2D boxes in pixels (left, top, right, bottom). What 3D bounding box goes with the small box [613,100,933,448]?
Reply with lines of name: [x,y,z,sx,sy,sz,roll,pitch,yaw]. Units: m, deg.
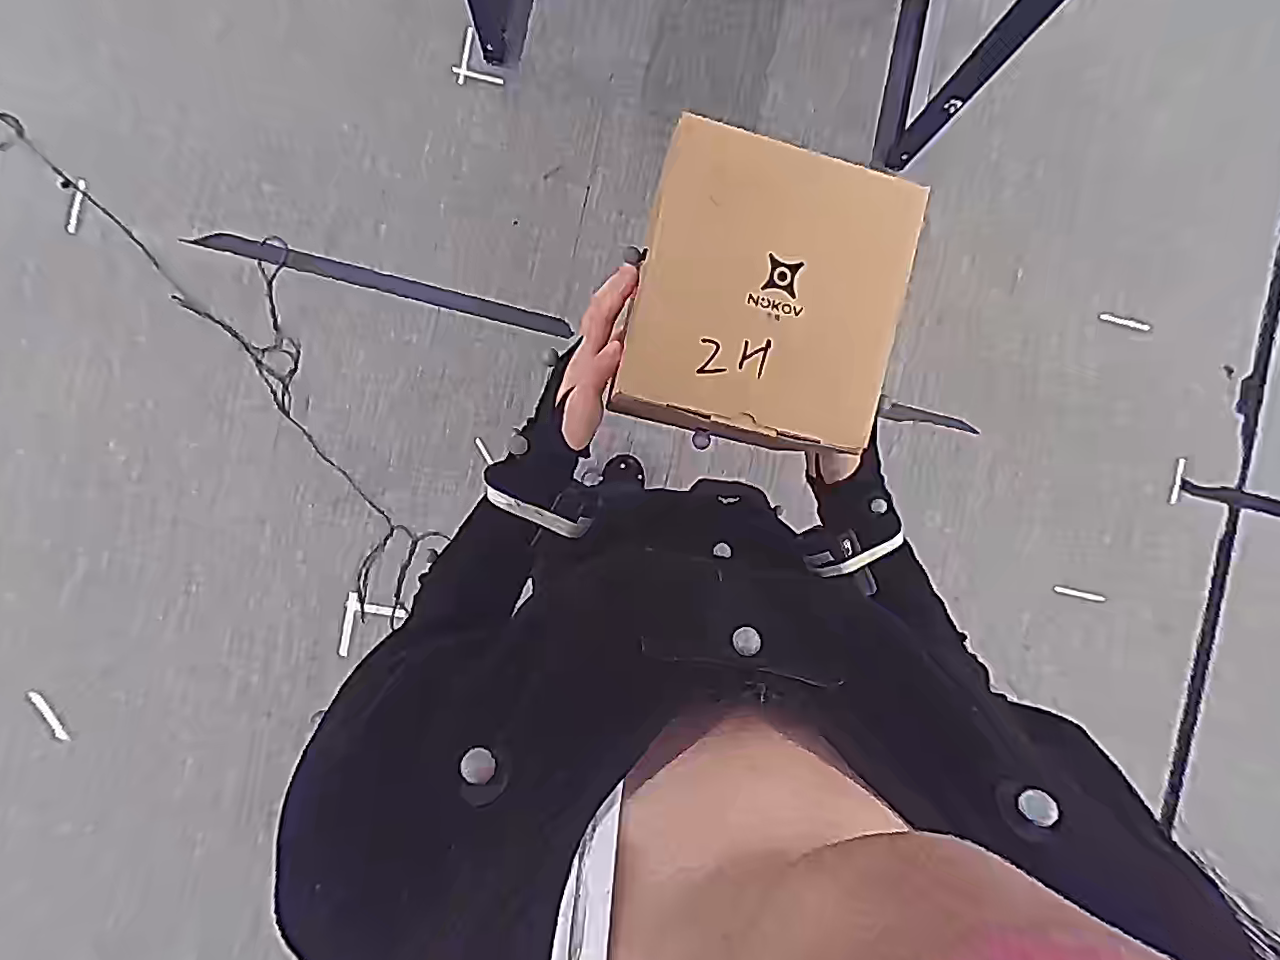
small box: [0.077,-0.127,0.408,0.168,0.176,0.179,13,93,-7]
